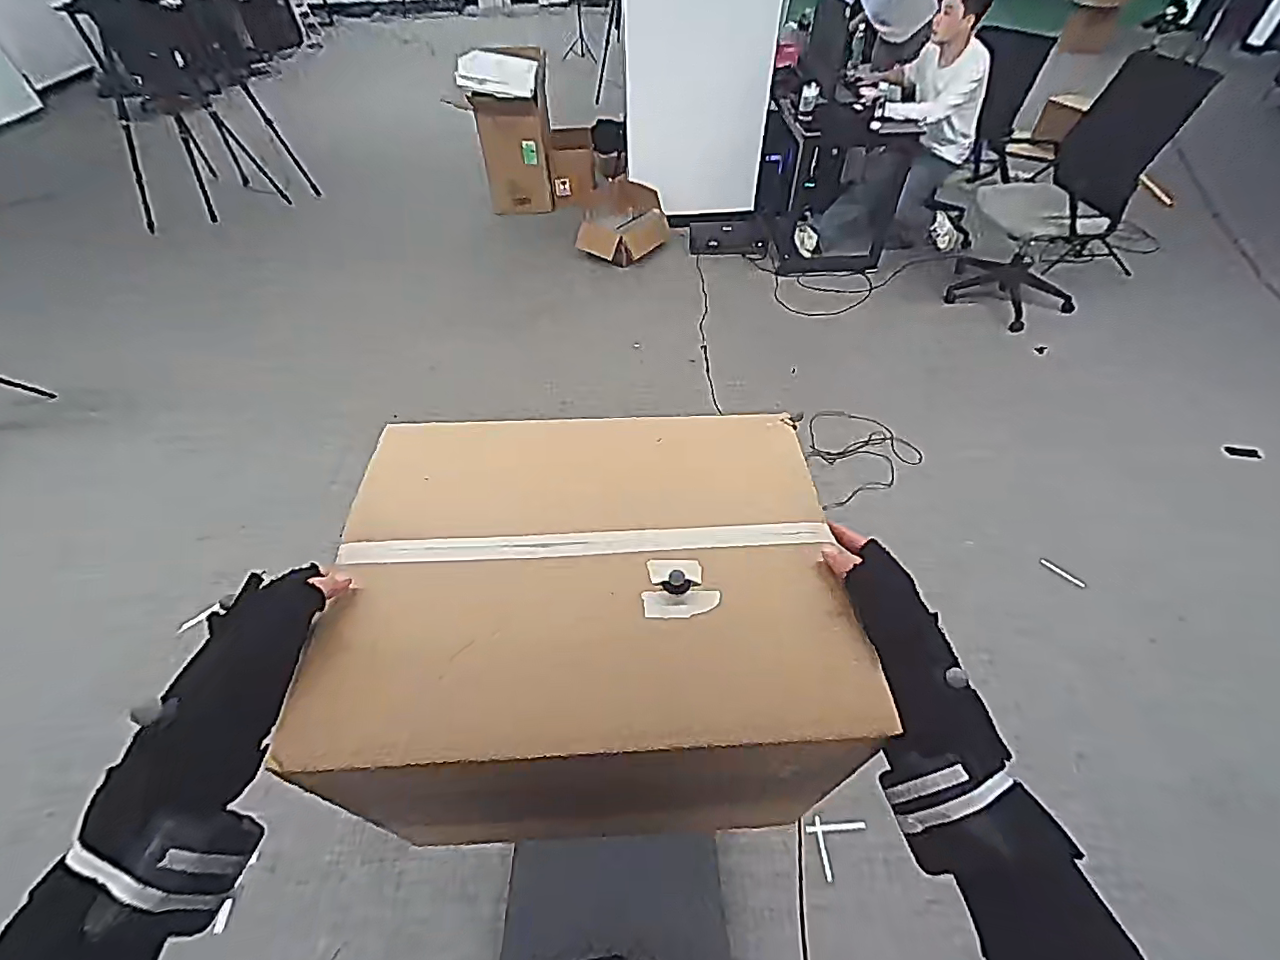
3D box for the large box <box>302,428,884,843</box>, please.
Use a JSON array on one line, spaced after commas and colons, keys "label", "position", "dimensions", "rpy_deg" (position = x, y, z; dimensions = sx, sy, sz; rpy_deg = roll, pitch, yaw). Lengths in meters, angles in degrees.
[{"label": "large box", "position": [-0.040, 0.163, 0.572], "dimensions": [0.408, 0.320, 0.320], "rpy_deg": [-1, 49, -3]}]
